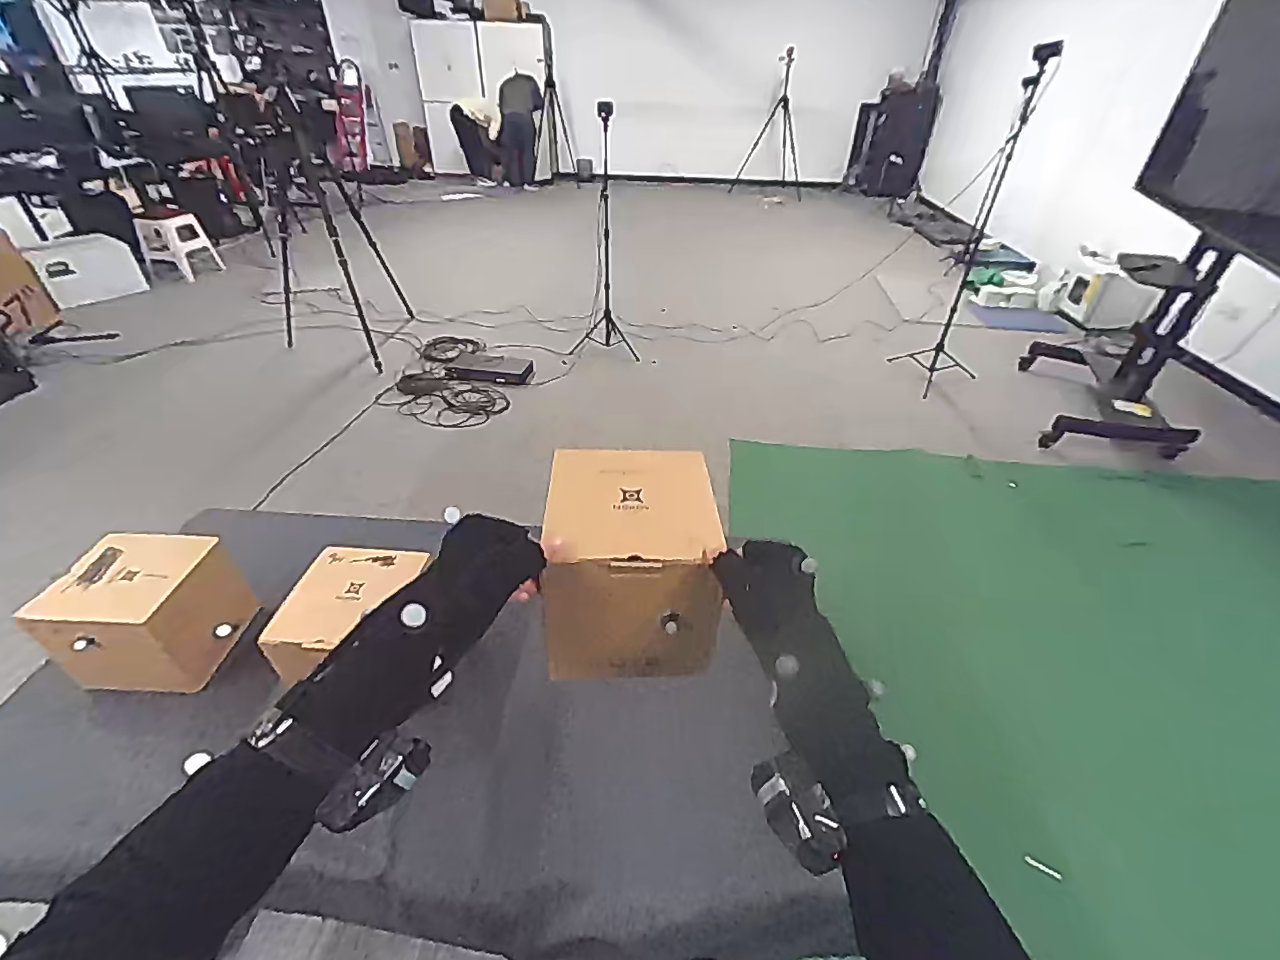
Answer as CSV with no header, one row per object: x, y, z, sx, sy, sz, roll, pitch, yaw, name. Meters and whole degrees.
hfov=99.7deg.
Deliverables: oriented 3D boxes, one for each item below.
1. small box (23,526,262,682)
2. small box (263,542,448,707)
-0.735,0.190,0.827,0.179,0.176,0.168,3,38,-1,small box
-0.405,0.217,0.811,0.168,0.176,0.179,4,38,2,small box
